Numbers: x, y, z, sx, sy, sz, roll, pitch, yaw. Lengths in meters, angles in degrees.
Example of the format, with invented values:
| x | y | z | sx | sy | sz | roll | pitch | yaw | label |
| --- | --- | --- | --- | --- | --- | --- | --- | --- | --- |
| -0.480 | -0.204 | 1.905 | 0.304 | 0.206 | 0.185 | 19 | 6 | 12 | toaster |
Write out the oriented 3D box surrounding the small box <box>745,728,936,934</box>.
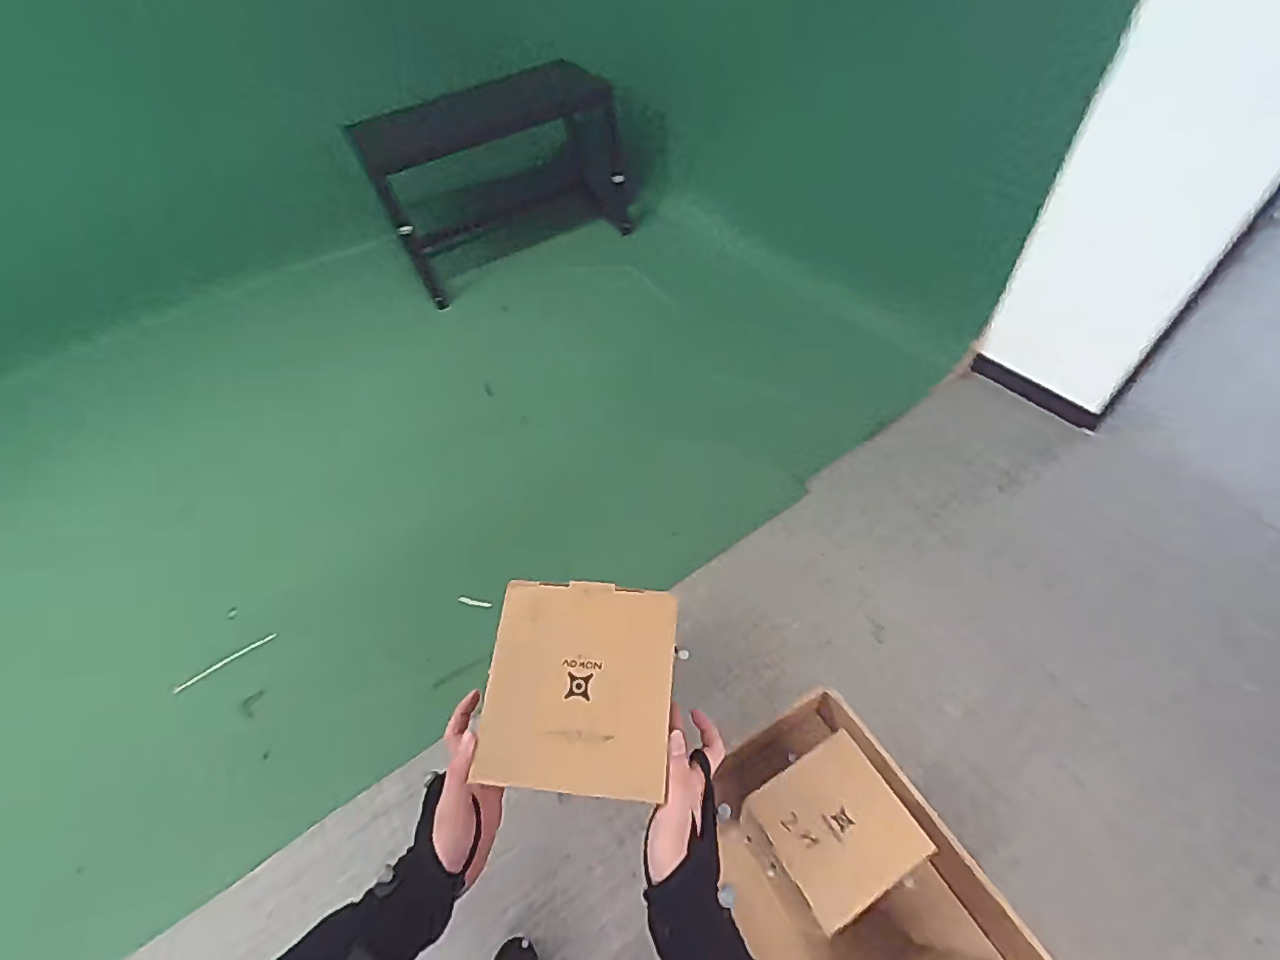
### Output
| x | y | z | sx | sy | sz | roll | pitch | yaw | label |
| --- | --- | --- | --- | --- | --- | --- | --- | --- | --- |
| 0.260 | 0.483 | 0.752 | 0.179 | 0.176 | 0.168 | -27 | 53 | -13 | small box |

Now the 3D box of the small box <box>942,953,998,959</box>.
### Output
| x | y | z | sx | sy | sz | roll | pitch | yaw | label |
| --- | --- | --- | --- | --- | --- | --- | --- | --- | --- |
| 0.372 | 0.669 | 0.595 | 0.179 | 0.176 | 0.168 | -26 | 54 | -11 | small box |

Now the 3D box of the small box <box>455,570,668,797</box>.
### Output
| x | y | z | sx | sy | sz | roll | pitch | yaw | label |
| --- | --- | --- | --- | --- | --- | --- | --- | --- | --- |
| -0.061 | 0.204 | 0.543 | 0.168 | 0.176 | 0.179 | 4 | 64 | 4 | small box |

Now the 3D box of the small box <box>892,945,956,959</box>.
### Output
| x | y | z | sx | sy | sz | roll | pitch | yaw | label |
| --- | --- | --- | --- | --- | --- | --- | --- | --- | --- |
| 0.390 | 0.768 | 0.724 | 0.179 | 0.176 | 0.168 | -27 | 54 | -11 | small box |
